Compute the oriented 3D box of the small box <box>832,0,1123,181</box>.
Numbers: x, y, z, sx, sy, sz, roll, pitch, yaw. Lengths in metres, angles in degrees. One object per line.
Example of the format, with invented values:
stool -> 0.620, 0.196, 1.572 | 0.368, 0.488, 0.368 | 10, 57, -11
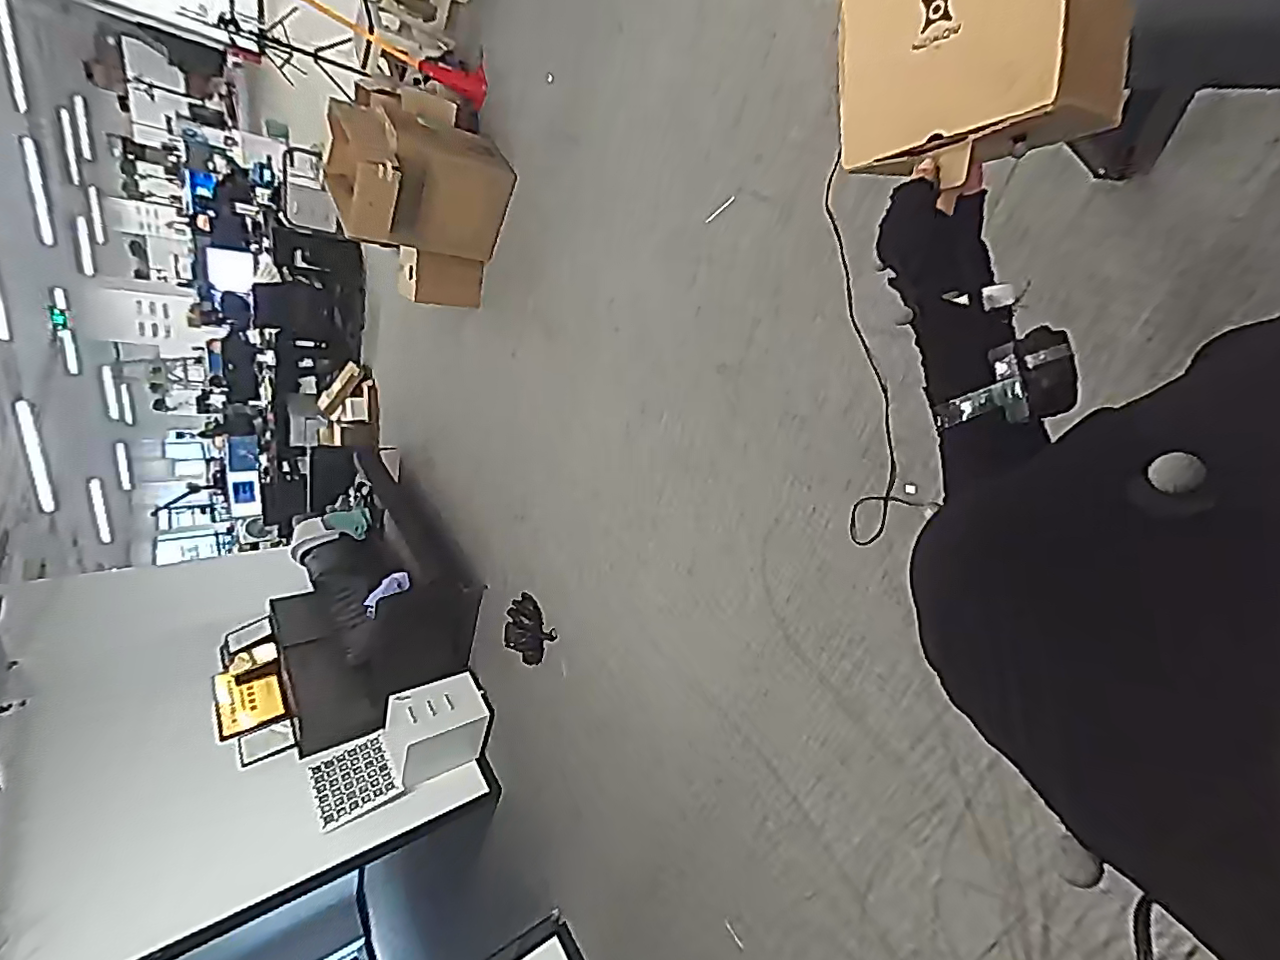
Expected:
small box -> 0.283, -0.369, 0.457 | 0.168, 0.176, 0.179 | 12, 116, 50
